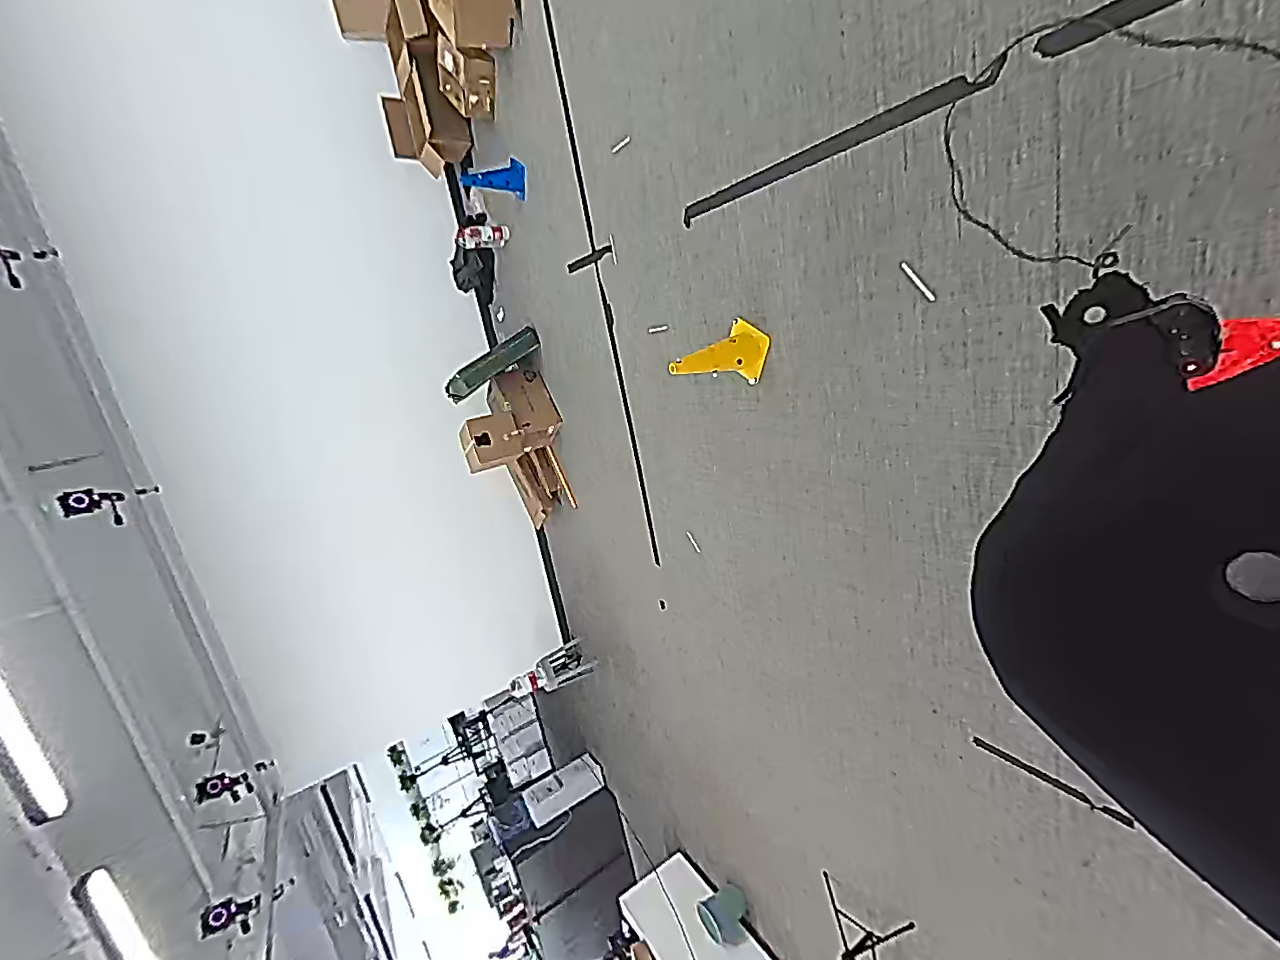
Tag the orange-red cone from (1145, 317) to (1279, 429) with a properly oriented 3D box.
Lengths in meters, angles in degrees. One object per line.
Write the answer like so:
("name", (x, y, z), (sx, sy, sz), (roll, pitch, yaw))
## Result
("orange-red cone", (0.963, -0.157, 0.932), (0.199, 0.360, 0.198), (26, 128, 55))
